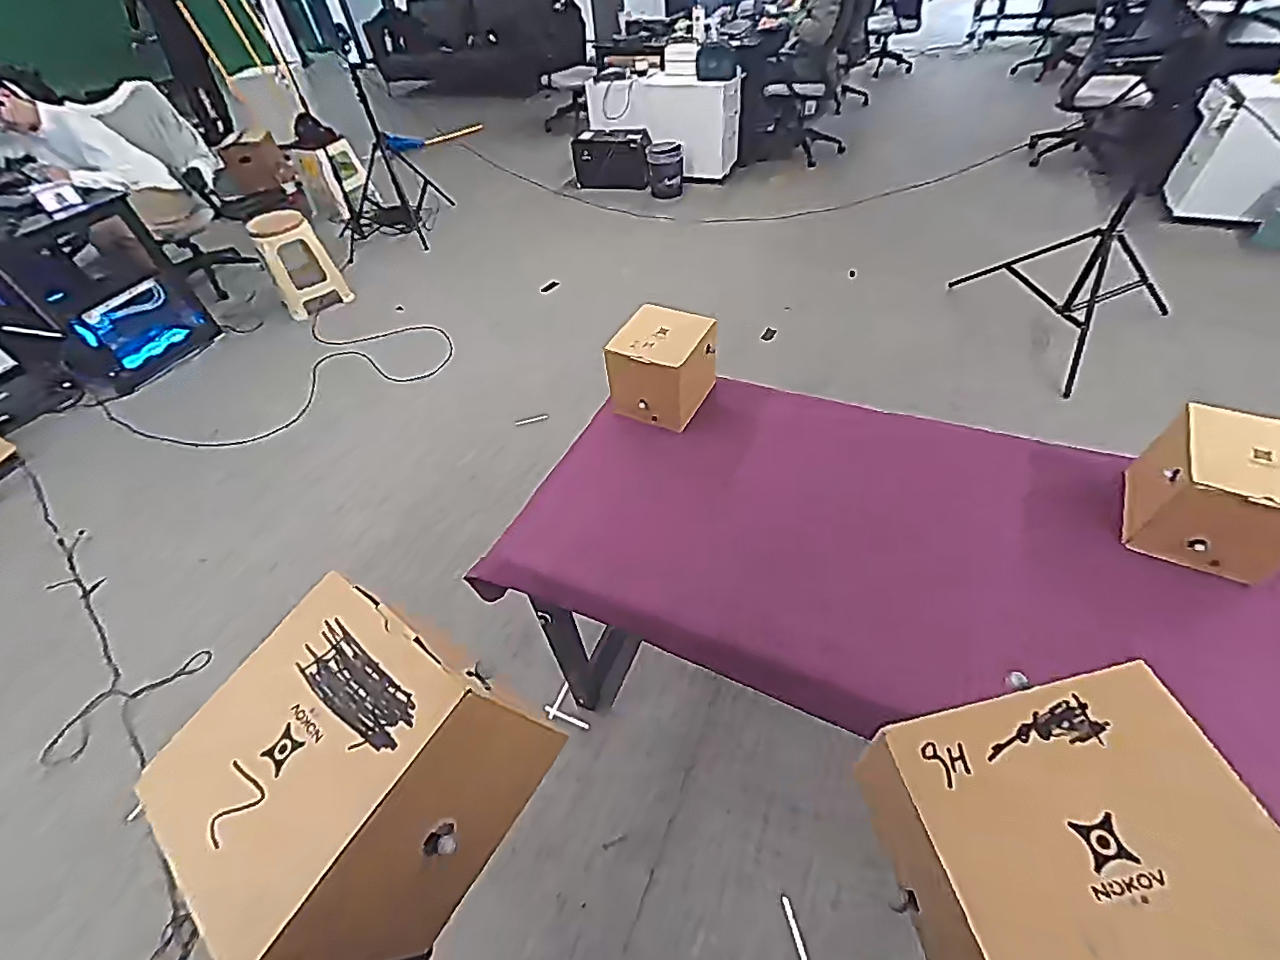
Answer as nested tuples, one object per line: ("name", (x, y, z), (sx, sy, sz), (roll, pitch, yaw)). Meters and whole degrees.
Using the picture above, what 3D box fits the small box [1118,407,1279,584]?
("small box", (0.872, 0.024, 0.822), (0.168, 0.176, 0.179), (20, 57, 22))

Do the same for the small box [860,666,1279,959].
("small box", (0.264, 0.247, 0.350), (0.168, 0.176, 0.179), (-15, 53, 2))

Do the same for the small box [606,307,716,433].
("small box", (0.048, -0.229, 1.132), (0.168, 0.176, 0.179), (20, 55, 22))
